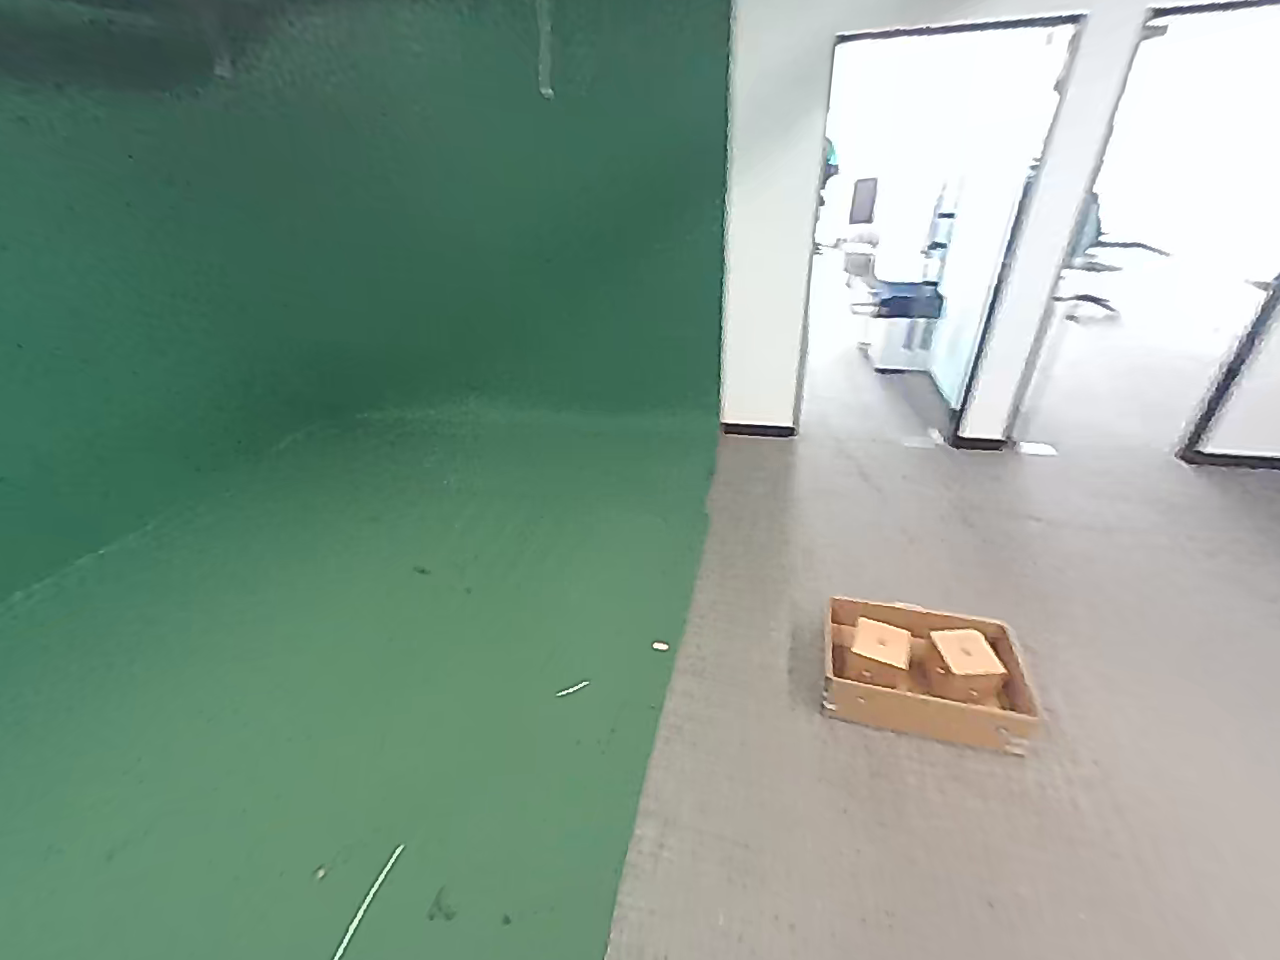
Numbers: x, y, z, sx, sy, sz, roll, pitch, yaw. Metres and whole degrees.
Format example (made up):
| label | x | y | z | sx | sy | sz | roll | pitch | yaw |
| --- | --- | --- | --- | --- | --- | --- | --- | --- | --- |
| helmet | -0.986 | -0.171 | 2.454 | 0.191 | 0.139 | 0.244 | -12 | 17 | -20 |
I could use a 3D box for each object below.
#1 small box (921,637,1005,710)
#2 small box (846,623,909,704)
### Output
| label | x | y | z | sx | sy | sz | roll | pitch | yaw |
| --- | --- | --- | --- | --- | --- | --- | --- | --- | --- |
| small box | 1.072 | 0.650 | 1.807 | 0.168 | 0.176 | 0.179 | -3 | 32 | 2 |
| small box | 0.815 | 0.634 | 1.859 | 0.168 | 0.176 | 0.179 | 13 | 34 | 23 |
